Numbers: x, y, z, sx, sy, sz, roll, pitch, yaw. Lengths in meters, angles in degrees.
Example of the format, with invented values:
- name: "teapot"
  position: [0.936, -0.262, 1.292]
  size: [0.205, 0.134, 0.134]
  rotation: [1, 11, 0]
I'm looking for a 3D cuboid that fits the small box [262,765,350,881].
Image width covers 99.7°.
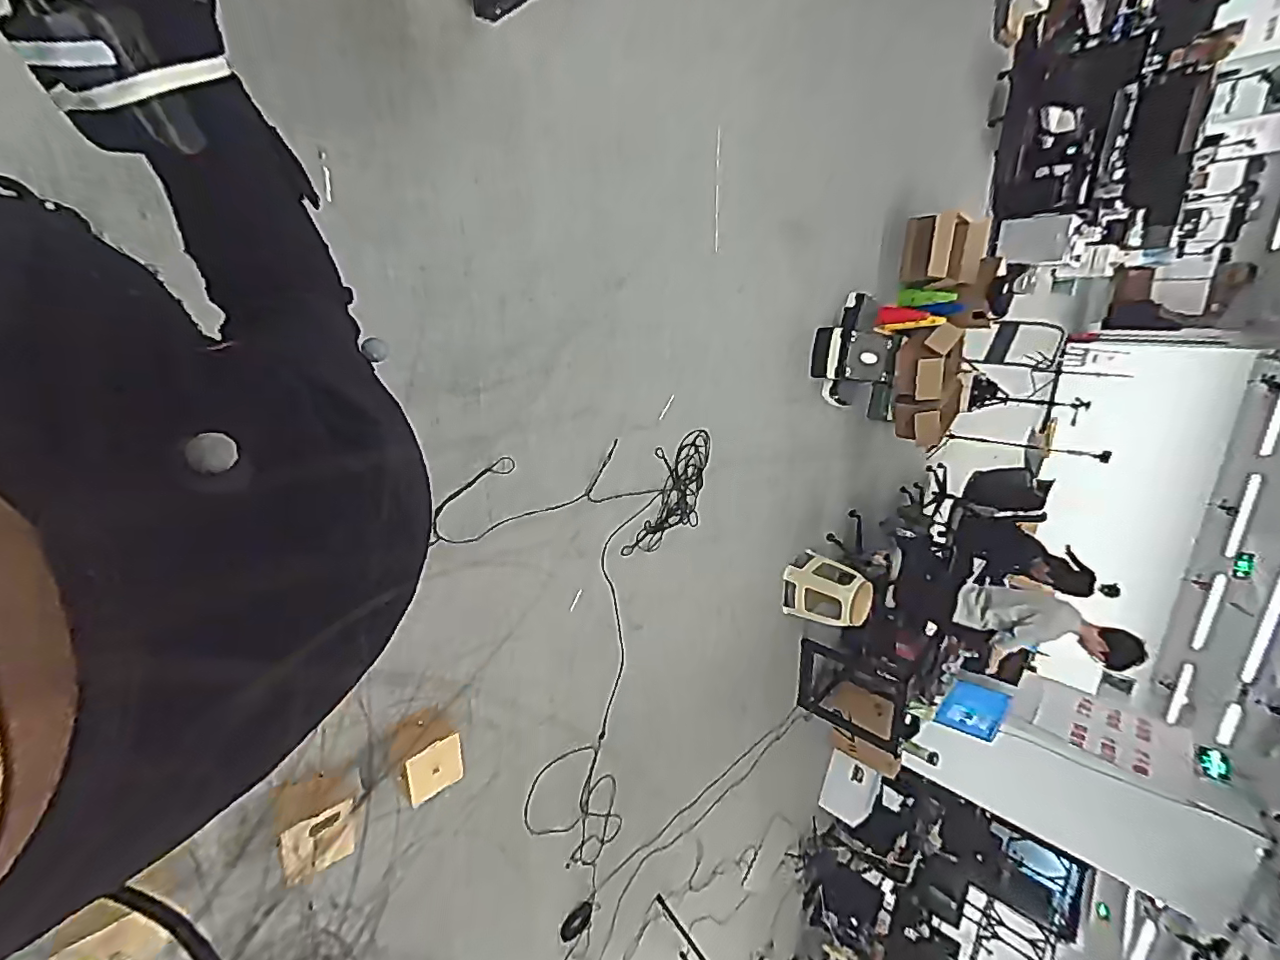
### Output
- name: "small box"
  position: [-0.898, 0.903, 1.452]
  size: [0.168, 0.176, 0.179]
  rotation: [-8, 109, -46]

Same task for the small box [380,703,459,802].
- name: "small box"
  position: [-0.681, 0.832, 1.668]
  size: [0.168, 0.176, 0.179]
  rotation: [-17, 114, -44]
